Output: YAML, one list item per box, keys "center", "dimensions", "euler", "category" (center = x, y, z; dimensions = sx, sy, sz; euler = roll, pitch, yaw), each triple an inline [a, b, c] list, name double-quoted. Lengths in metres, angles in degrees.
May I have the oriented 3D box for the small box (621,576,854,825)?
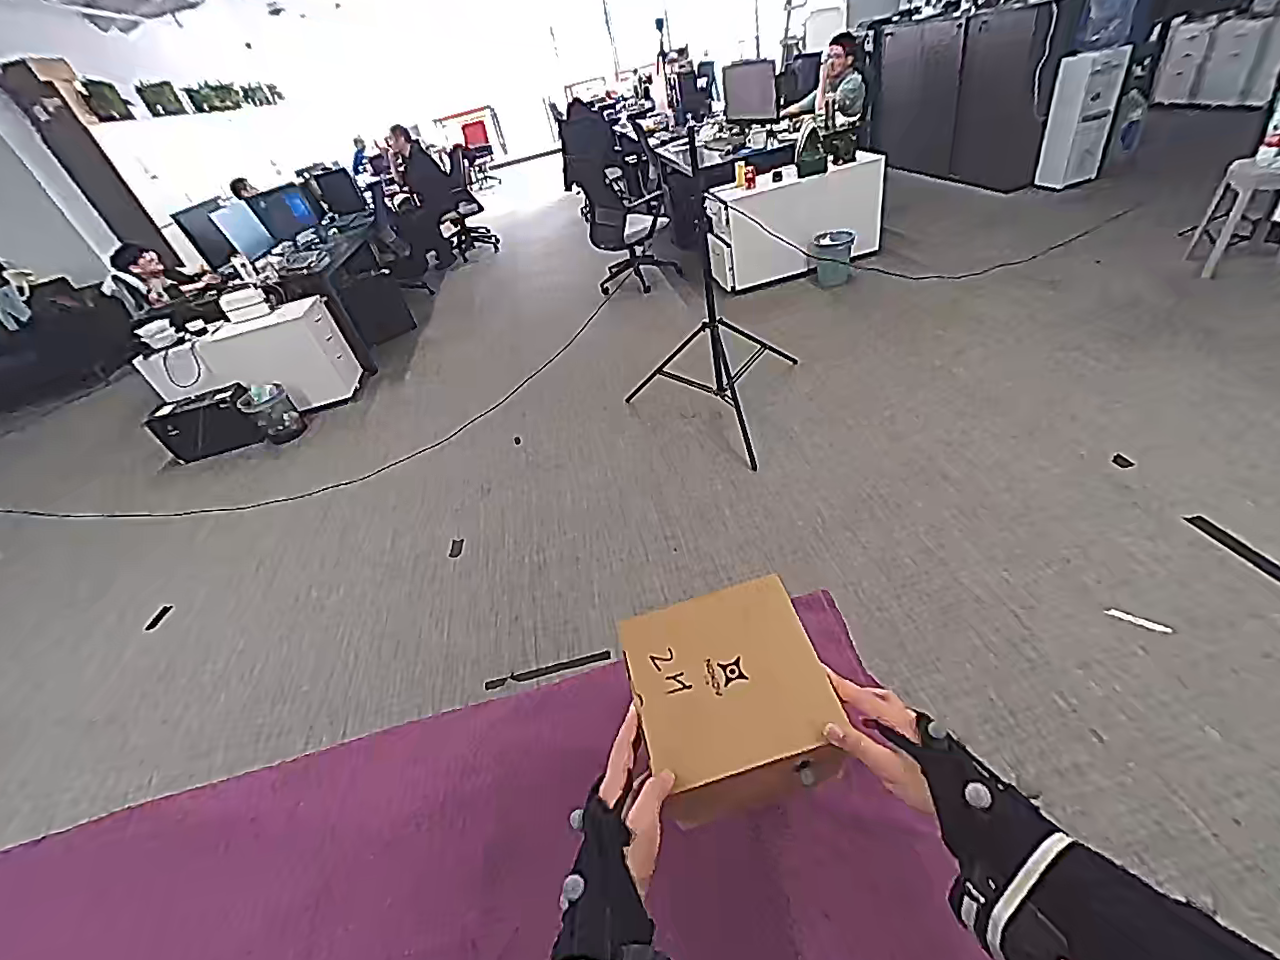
- center: [0.094, 0.231, 0.560]
  dimensions: [0.179, 0.176, 0.168]
  euler: [-17, 47, -1]
  category: "small box"
